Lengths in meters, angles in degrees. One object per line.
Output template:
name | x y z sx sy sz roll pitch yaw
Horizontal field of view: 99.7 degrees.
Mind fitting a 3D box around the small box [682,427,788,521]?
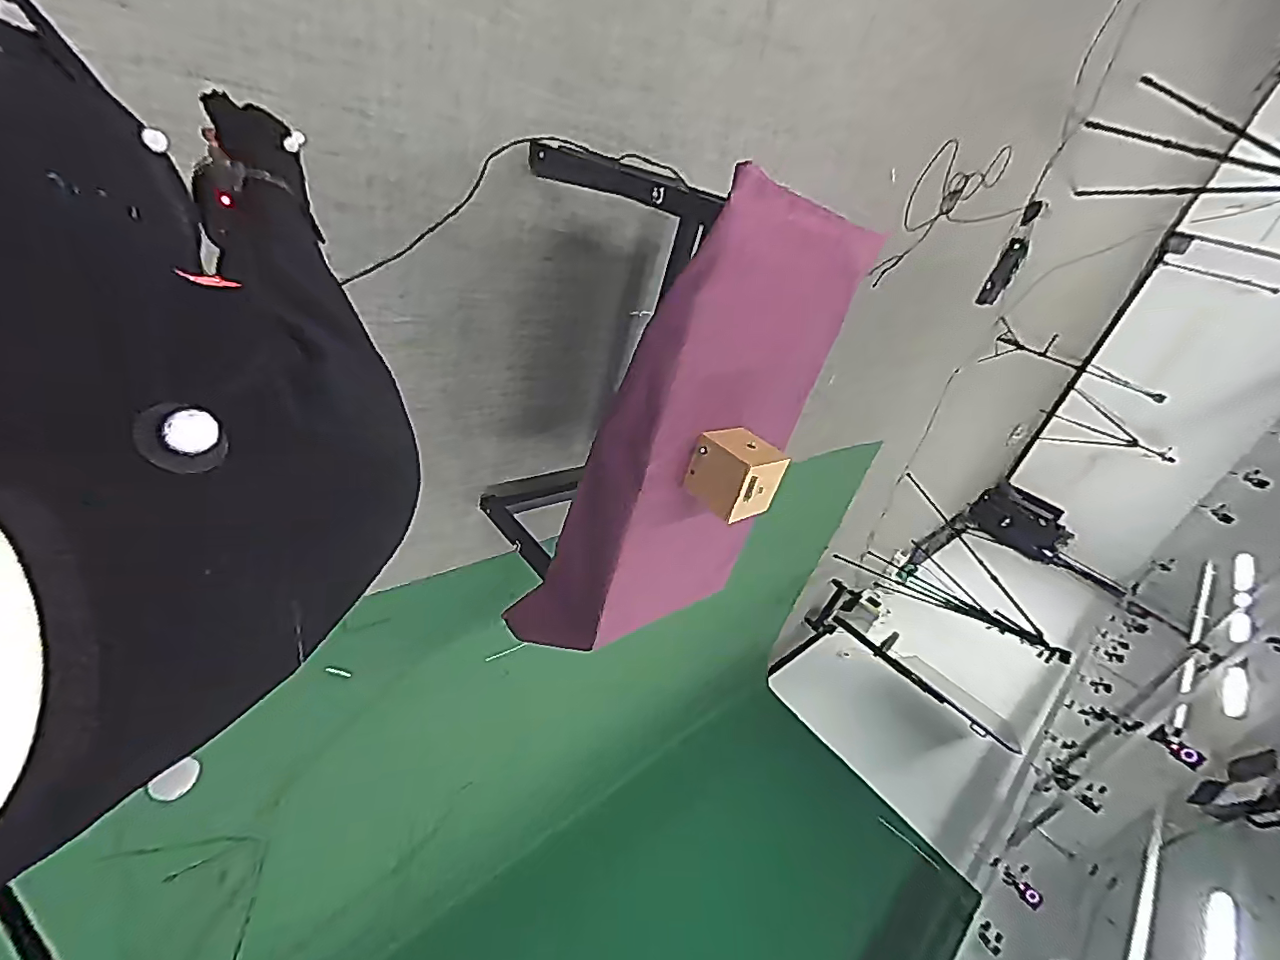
small box | 0.234 -0.022 1.373 0.179 0.176 0.168 -12 130 -43
